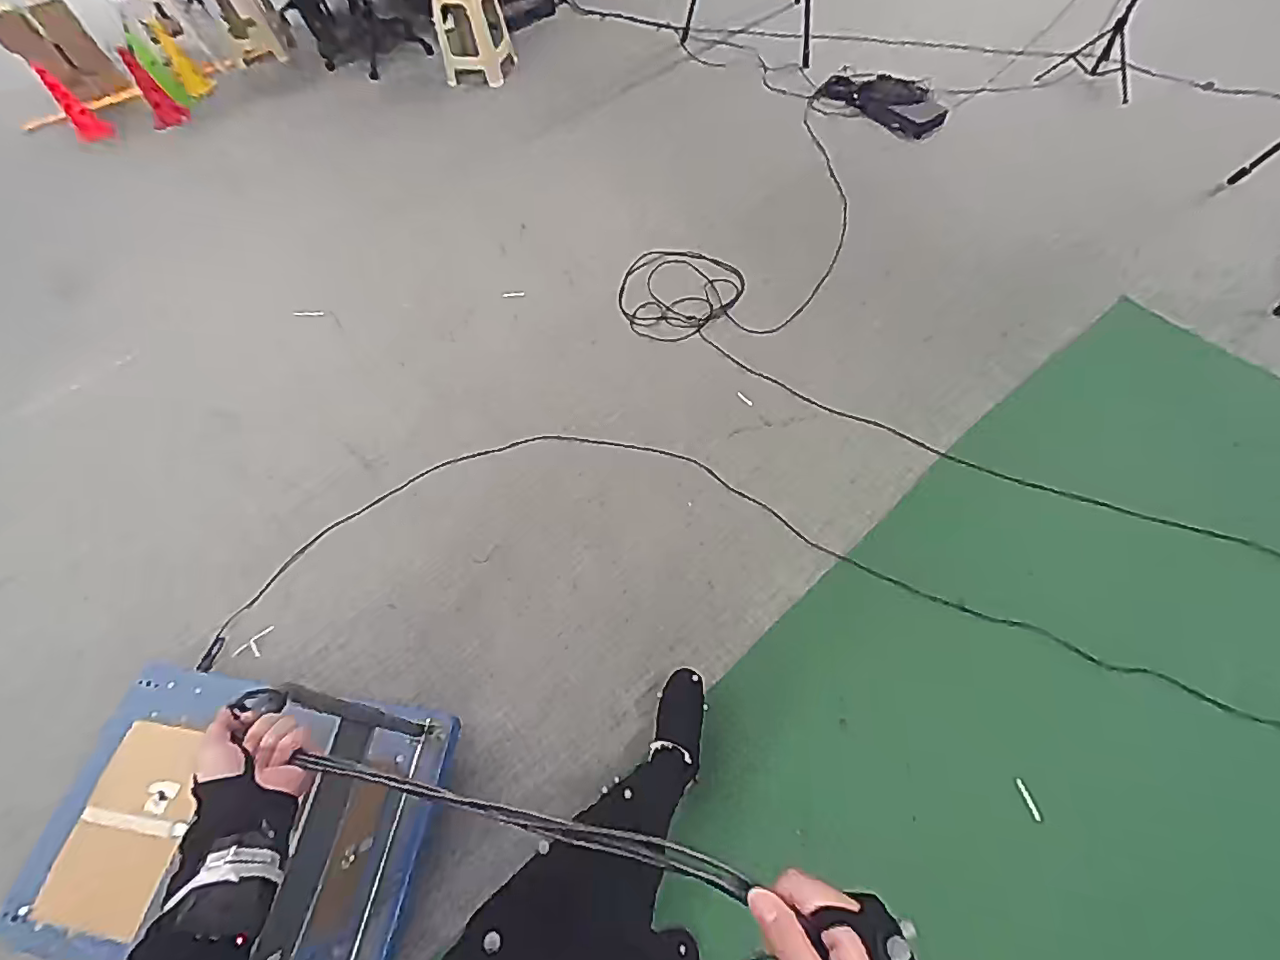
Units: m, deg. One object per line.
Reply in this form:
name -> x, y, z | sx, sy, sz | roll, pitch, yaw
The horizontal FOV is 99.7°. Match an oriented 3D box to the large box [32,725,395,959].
large box -> -0.783, 0.693, 1.071 | 0.408, 0.320, 0.320 | 5, 60, 9
